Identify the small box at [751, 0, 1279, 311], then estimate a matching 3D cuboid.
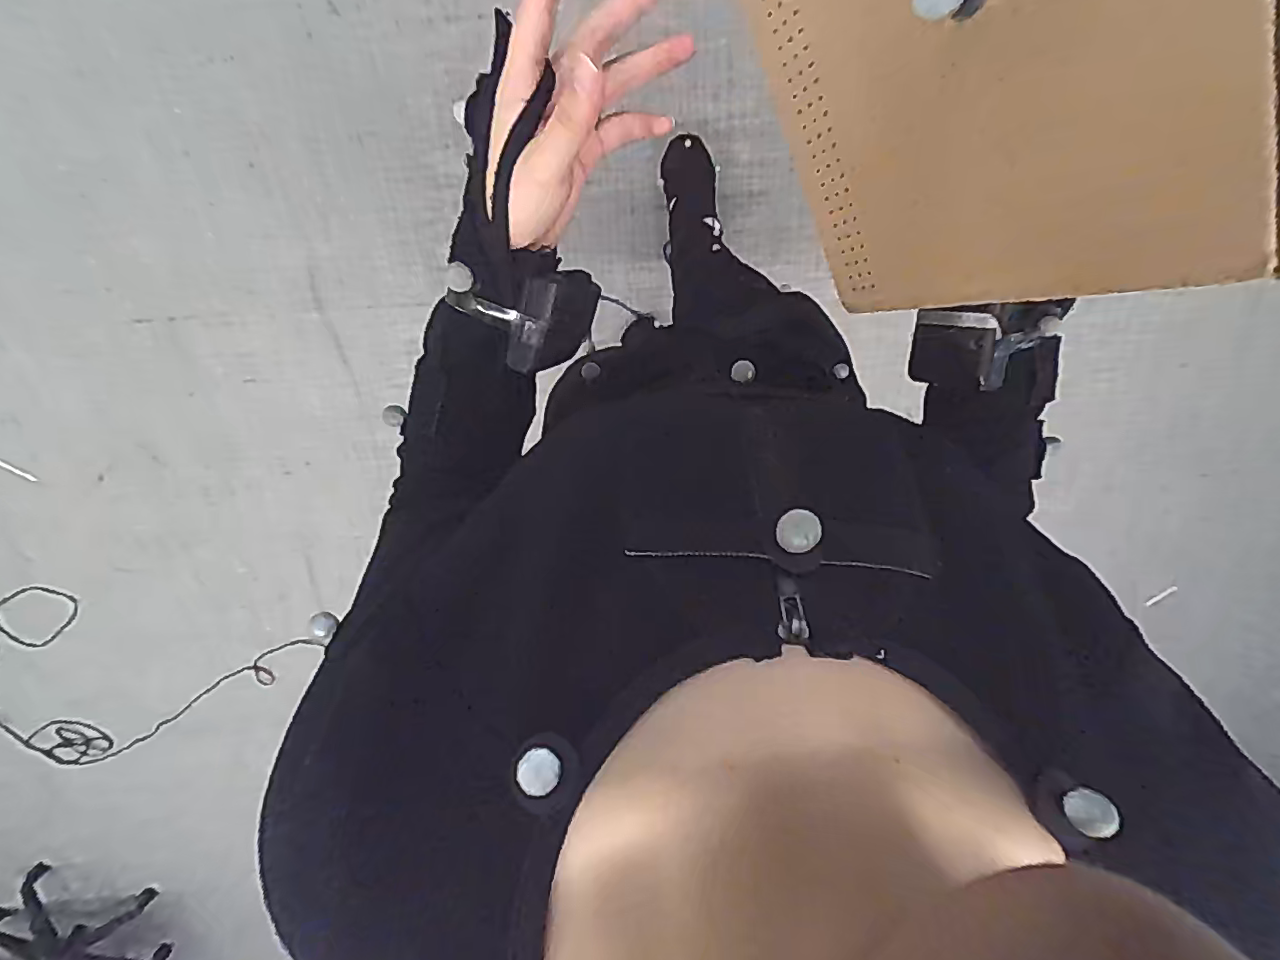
[{"bbox_3d":[0.168,-0.183,0.203,0.168,0.176,0.179,-33,110,-8],"label":"small box"}]
